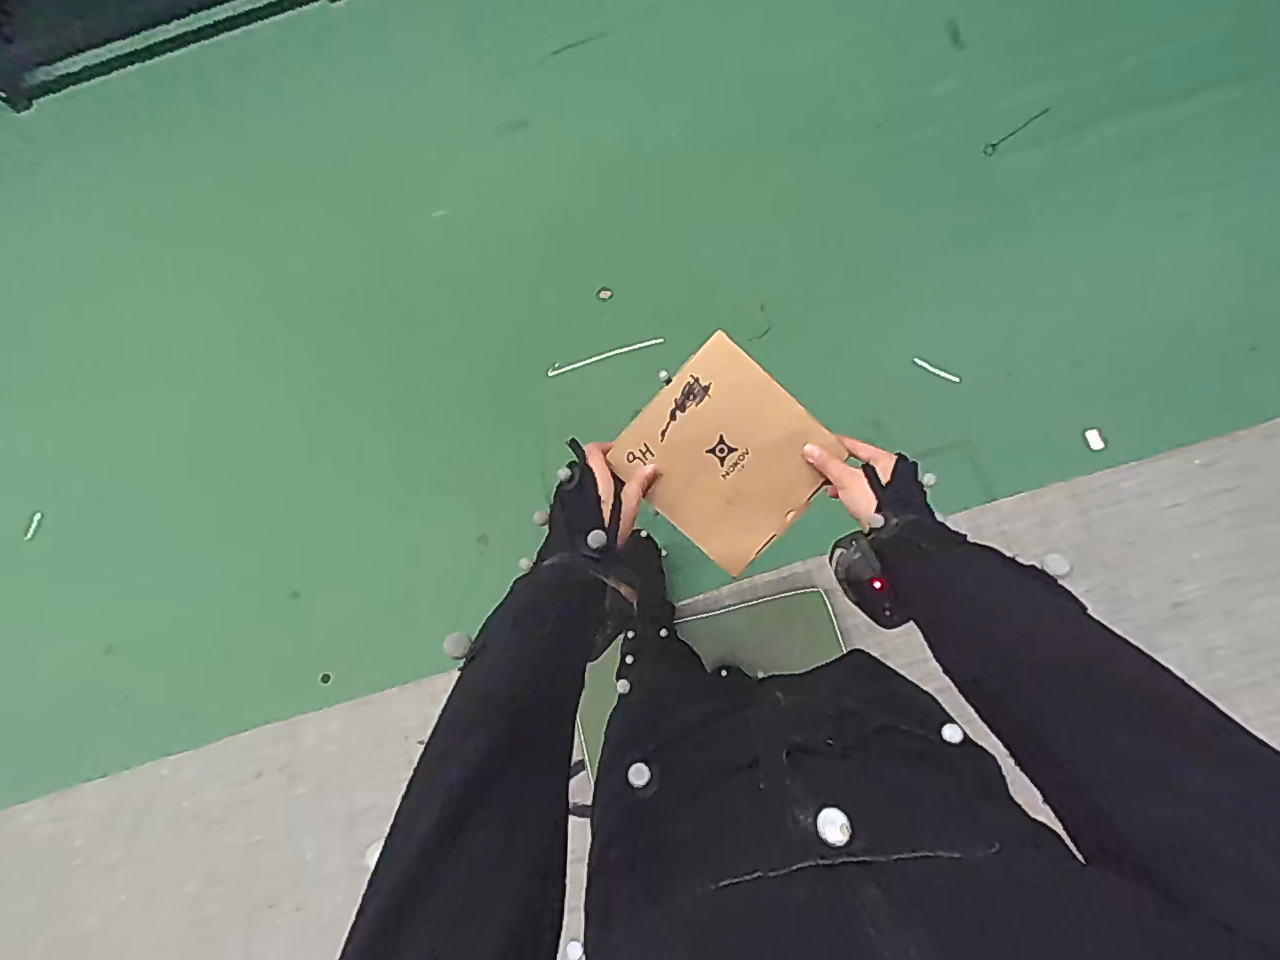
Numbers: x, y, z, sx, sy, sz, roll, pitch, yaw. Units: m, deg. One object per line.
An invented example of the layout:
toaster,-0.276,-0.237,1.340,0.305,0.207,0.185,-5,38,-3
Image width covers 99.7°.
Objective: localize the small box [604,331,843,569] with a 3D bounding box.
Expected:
small box,0.079,-0.036,0.598,0.179,0.176,0.168,42,93,-5
